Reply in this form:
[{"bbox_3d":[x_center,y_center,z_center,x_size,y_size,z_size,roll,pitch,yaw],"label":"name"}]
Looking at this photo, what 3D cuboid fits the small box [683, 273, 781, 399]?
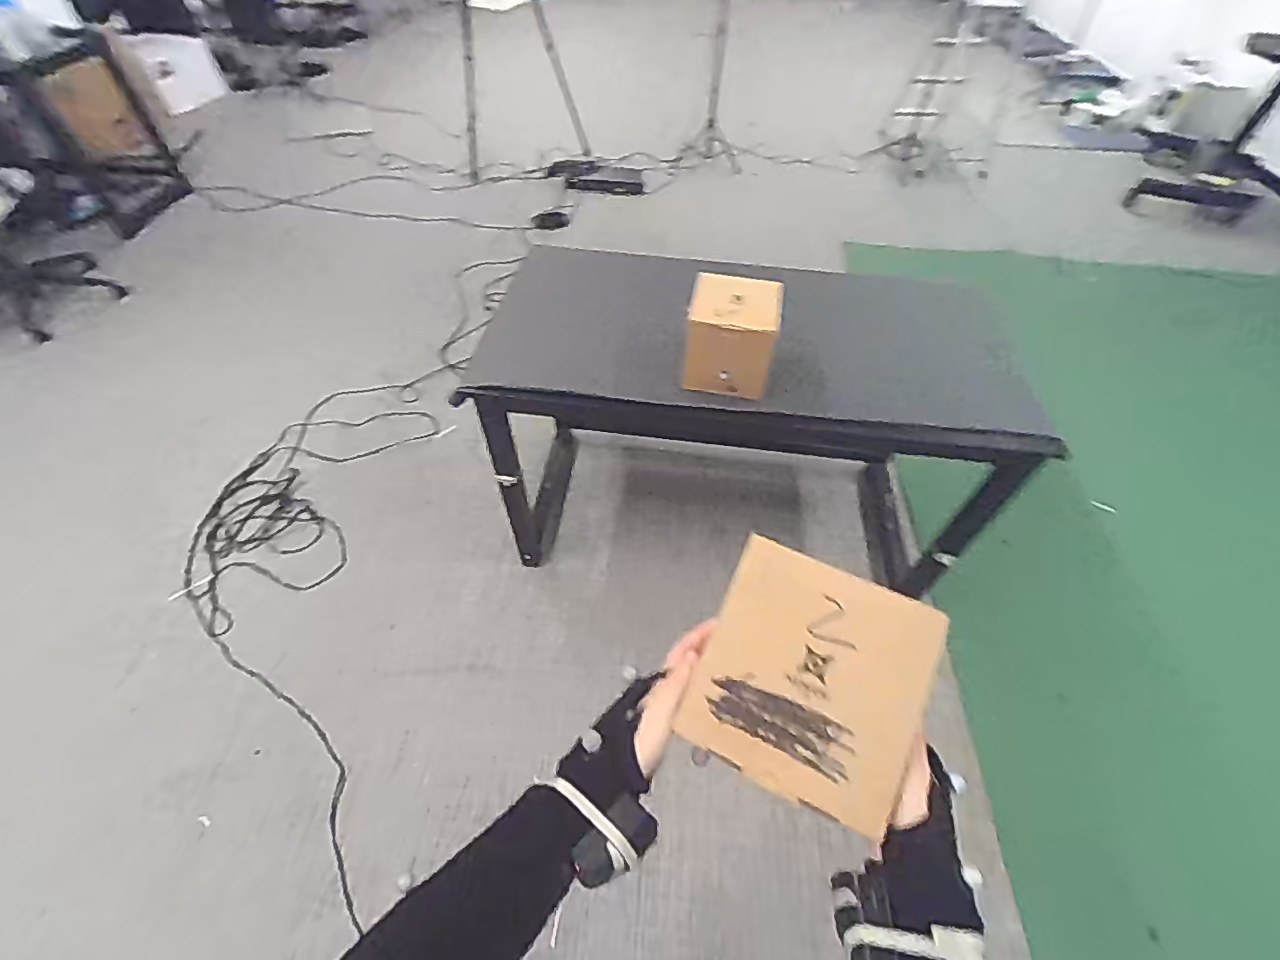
[{"bbox_3d":[0.185,-0.293,1.103,0.168,0.176,0.179,10,51,6],"label":"small box"}]
